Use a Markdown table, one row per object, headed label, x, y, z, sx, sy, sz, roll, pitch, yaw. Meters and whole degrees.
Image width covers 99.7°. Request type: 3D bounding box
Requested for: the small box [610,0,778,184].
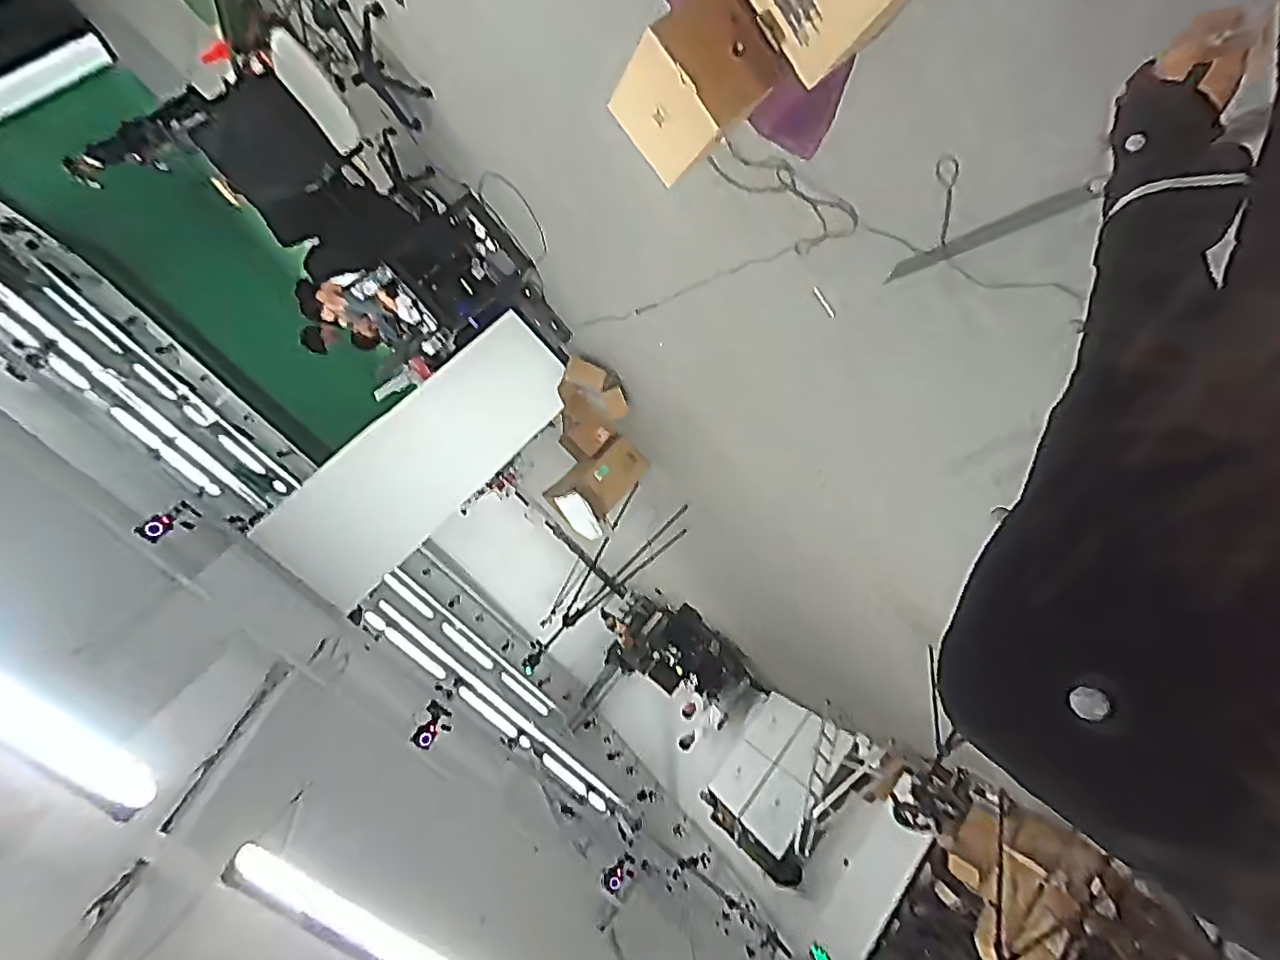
| label | x | y | z | sx | sy | sz | roll | pitch | yaw |
| --- | --- | --- | --- | --- | --- | --- | --- | --- | --- |
| small box | 0.086 | -0.631 | 0.871 | 0.168 | 0.176 | 0.179 | 47 | 162 | -15 |
